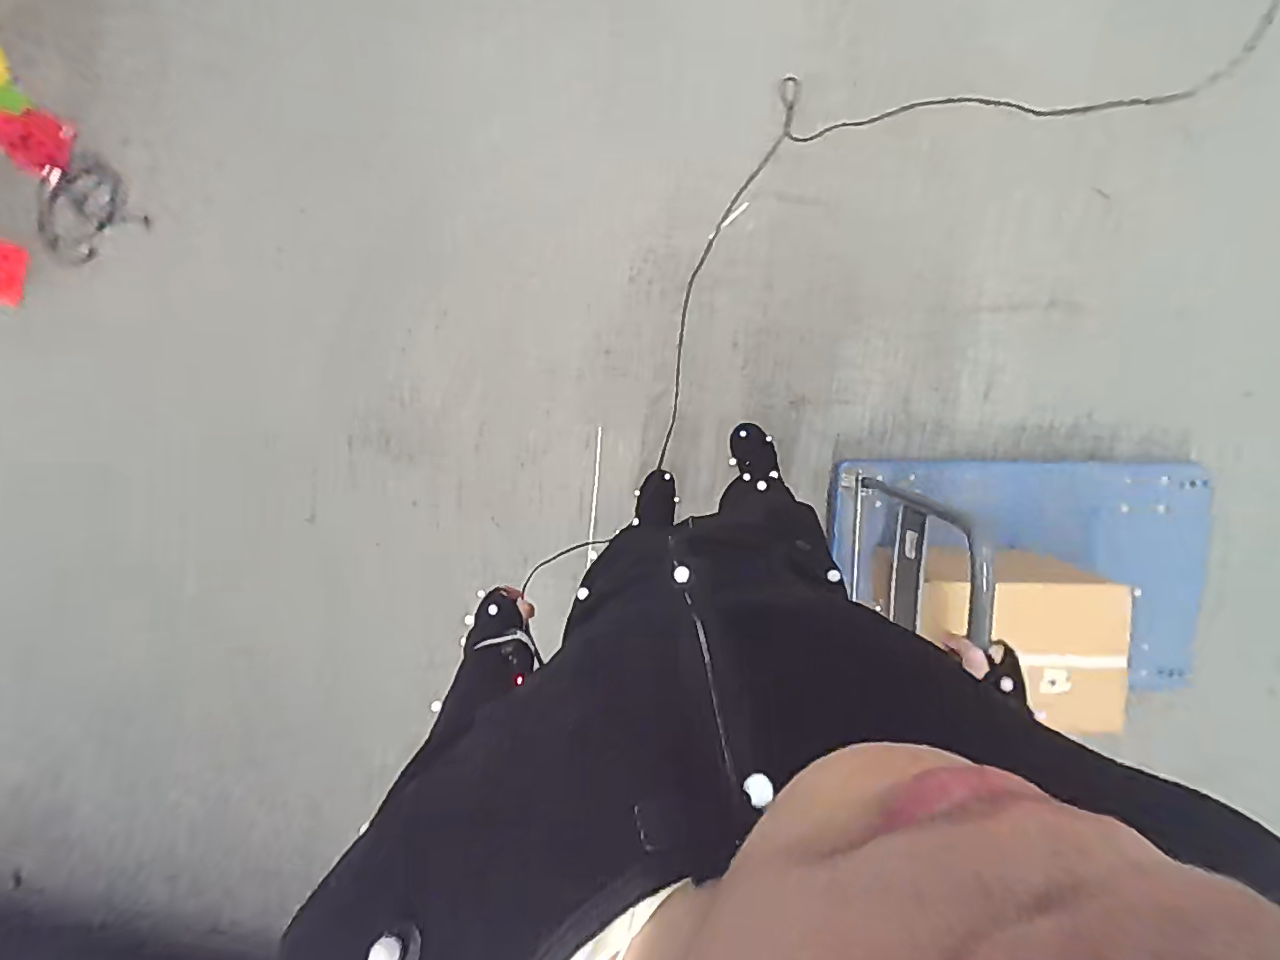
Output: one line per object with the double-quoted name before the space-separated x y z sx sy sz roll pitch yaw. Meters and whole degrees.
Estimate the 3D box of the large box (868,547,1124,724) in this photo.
"large box" 0.781 0.336 1.252 0.408 0.320 0.320 -1 97 6
